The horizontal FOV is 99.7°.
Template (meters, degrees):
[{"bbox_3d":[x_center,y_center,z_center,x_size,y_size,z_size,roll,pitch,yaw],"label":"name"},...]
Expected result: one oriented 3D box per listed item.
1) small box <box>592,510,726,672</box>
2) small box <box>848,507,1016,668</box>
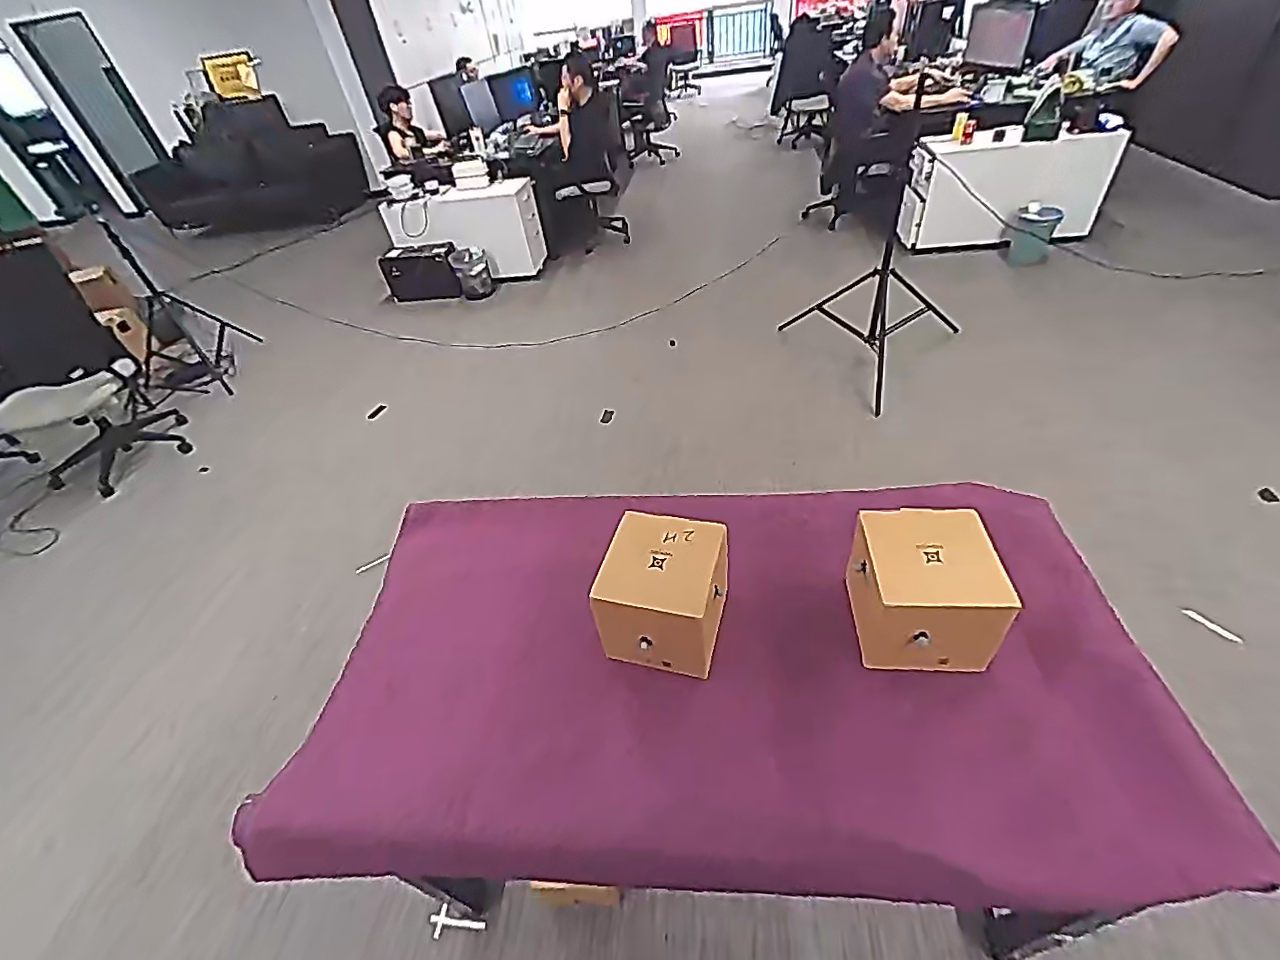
[{"bbox_3d":[0.042,0.175,0.854,0.168,0.176,0.179,8,44,17],"label":"small box"},{"bbox_3d":[0.416,0.161,0.806,0.168,0.176,0.179,-2,41,10],"label":"small box"}]
